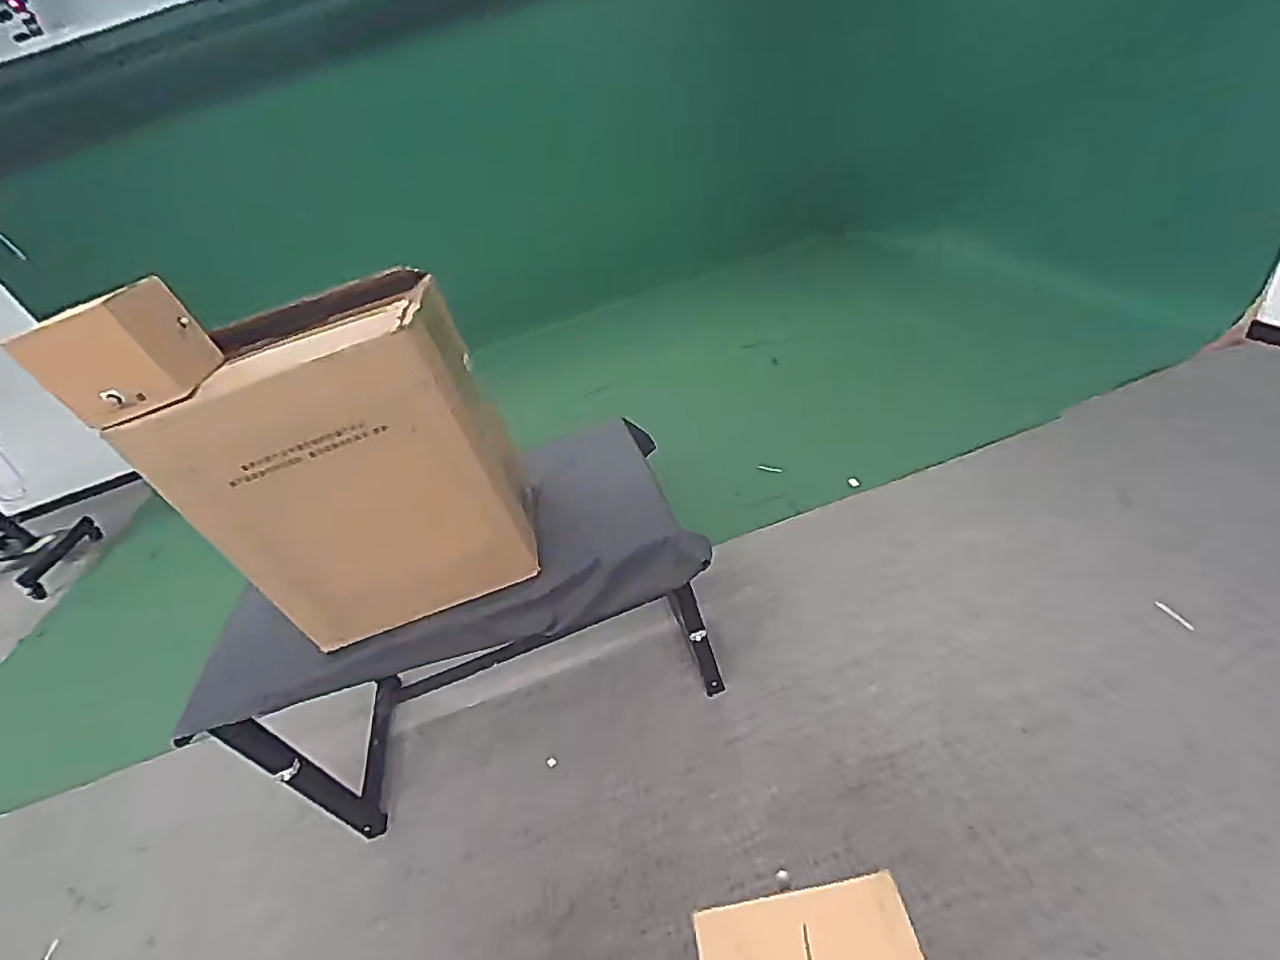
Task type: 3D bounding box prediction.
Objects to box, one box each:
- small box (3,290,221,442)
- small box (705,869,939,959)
[{"bbox_3d":[-0.863,-0.192,0.913,0.168,0.176,0.179,-24,37,-2],"label":"small box"},{"bbox_3d":[0.155,0.441,0.439,0.168,0.176,0.179,-12,49,-1],"label":"small box"}]
